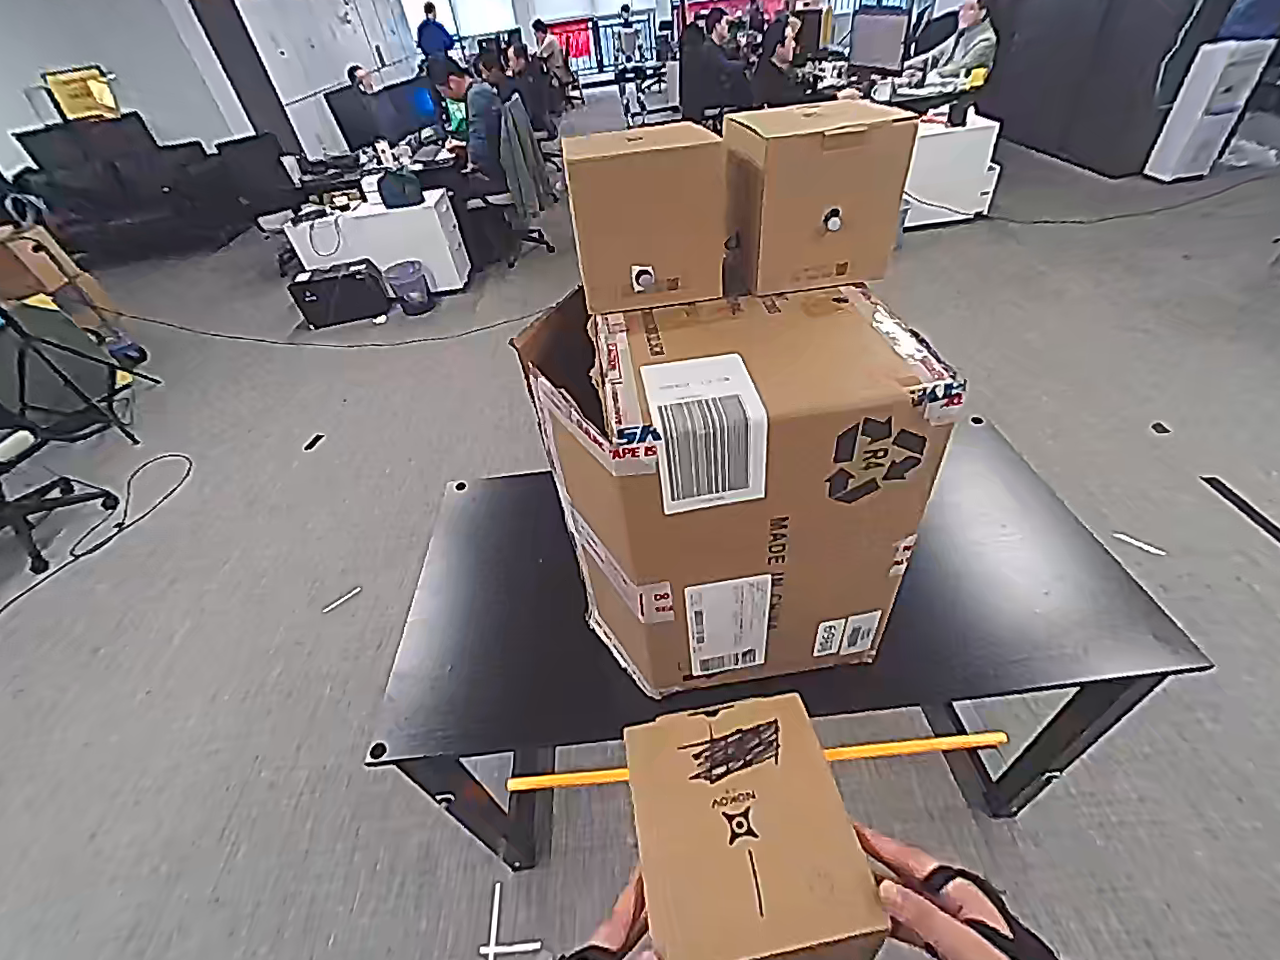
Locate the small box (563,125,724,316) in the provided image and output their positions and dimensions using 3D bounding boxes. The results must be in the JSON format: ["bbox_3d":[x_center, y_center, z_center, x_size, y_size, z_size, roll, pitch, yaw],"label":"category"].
[{"bbox_3d":[0.002,-0.321,0.667,0.168,0.176,0.179,-10,40,-3],"label":"small box"}]

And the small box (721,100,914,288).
[{"bbox_3d":[0.200,-0.347,0.667,0.168,0.176,0.179,-8,42,-3],"label":"small box"}]

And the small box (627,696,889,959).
[{"bbox_3d":[0.088,0.327,0.476,0.168,0.176,0.179,-12,37,-2],"label":"small box"}]
